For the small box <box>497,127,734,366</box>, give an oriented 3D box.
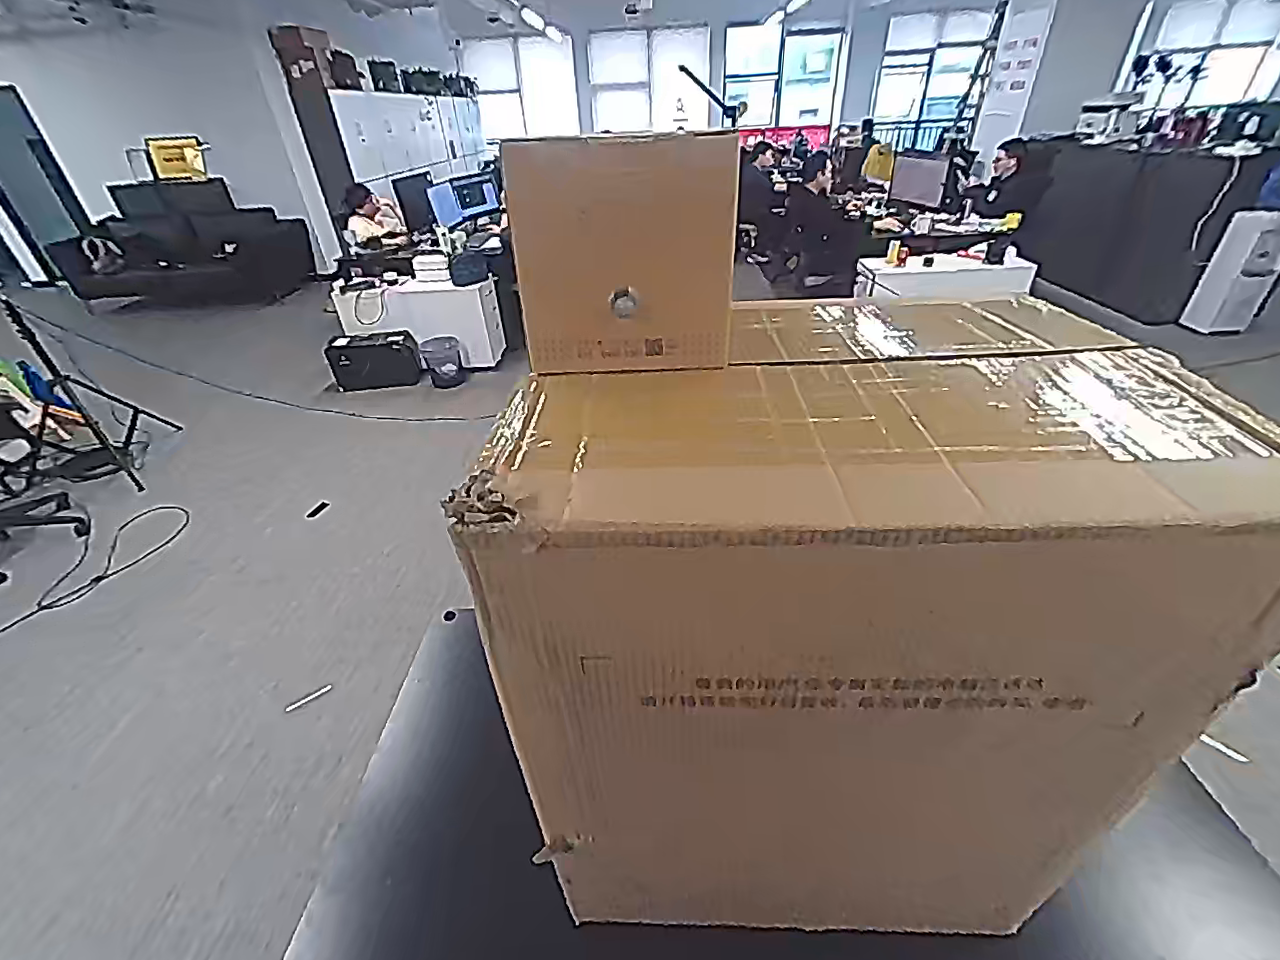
[{"bbox_3d":[-0.015,-0.208,0.479,0.168,0.176,0.179,-2,32,1],"label":"small box"}]
